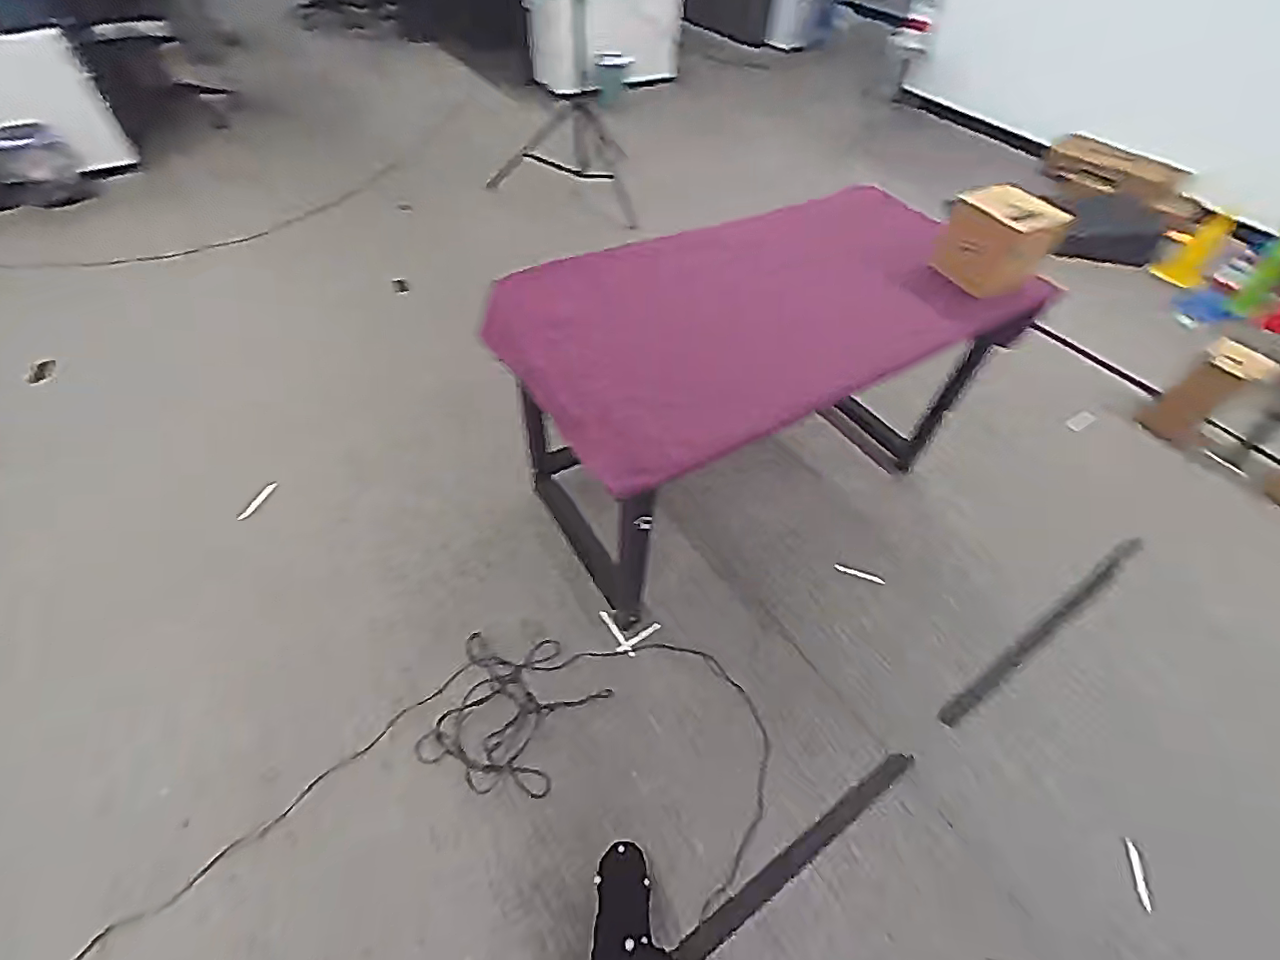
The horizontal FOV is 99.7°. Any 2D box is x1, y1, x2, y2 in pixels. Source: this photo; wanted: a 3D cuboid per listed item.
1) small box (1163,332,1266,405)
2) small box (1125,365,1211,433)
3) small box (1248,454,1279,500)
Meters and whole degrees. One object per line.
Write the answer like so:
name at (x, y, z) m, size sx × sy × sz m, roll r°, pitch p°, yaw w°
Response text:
small box at (2.048, -0.398, 1.938) m, size 0.179 × 0.176 × 0.168 m, roll -26°, pitch 58°, yaw -24°
small box at (2.036, -0.301, 2.071) m, size 0.168 × 0.176 × 0.179 m, roll -29°, pitch 58°, yaw -25°
small box at (2.308, -0.022, 1.873) m, size 0.168 × 0.176 × 0.179 m, roll -23°, pitch 58°, yaw -21°
